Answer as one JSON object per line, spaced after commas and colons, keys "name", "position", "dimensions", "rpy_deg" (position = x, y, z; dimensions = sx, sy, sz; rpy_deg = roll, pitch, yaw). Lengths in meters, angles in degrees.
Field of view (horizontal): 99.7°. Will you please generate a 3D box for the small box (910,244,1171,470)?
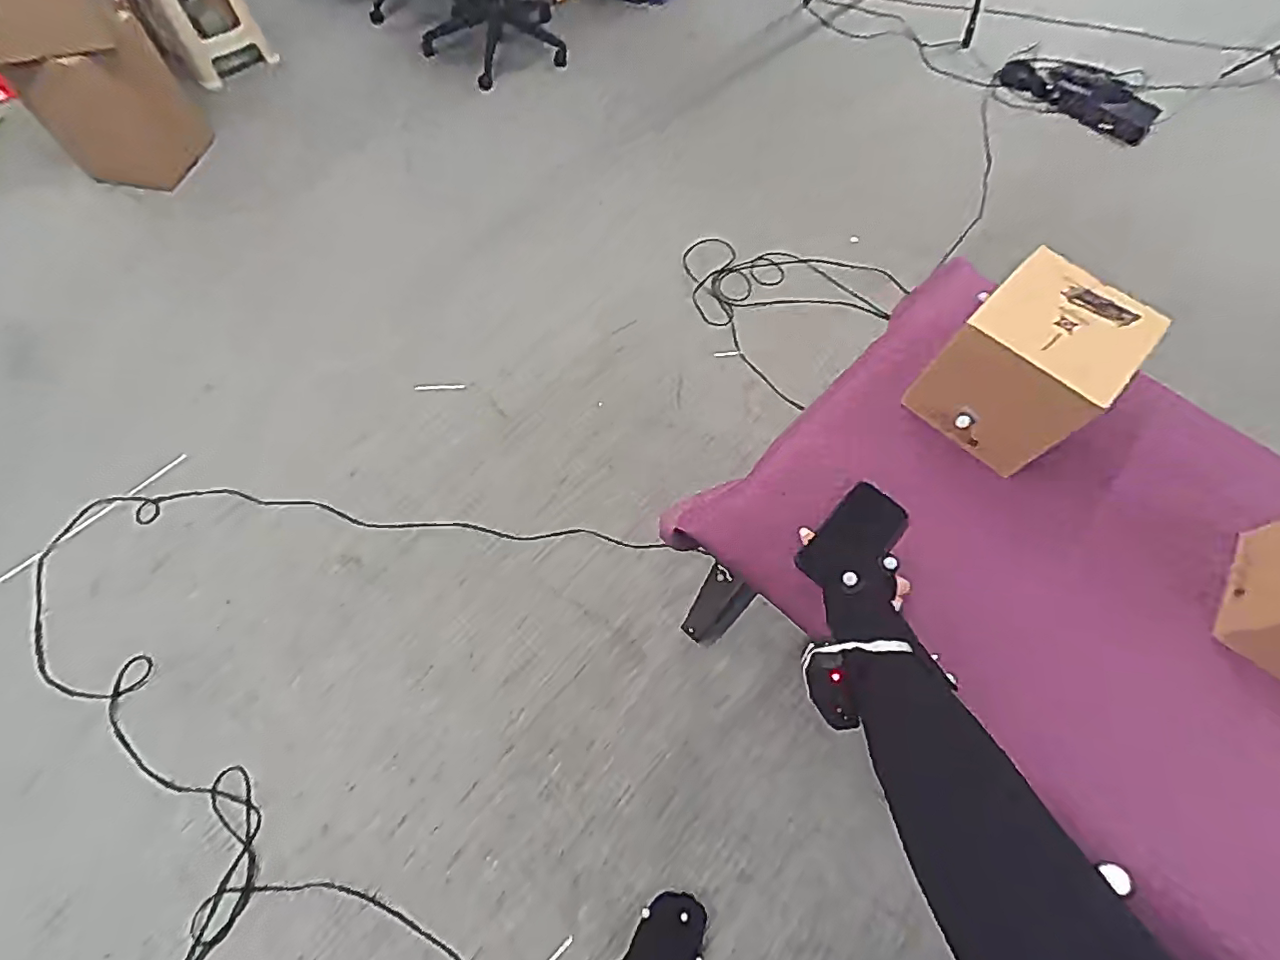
{"name": "small box", "position": [0.478, -0.146, 0.674], "dimensions": [0.179, 0.176, 0.168], "rpy_deg": [-41, 72, -18]}
